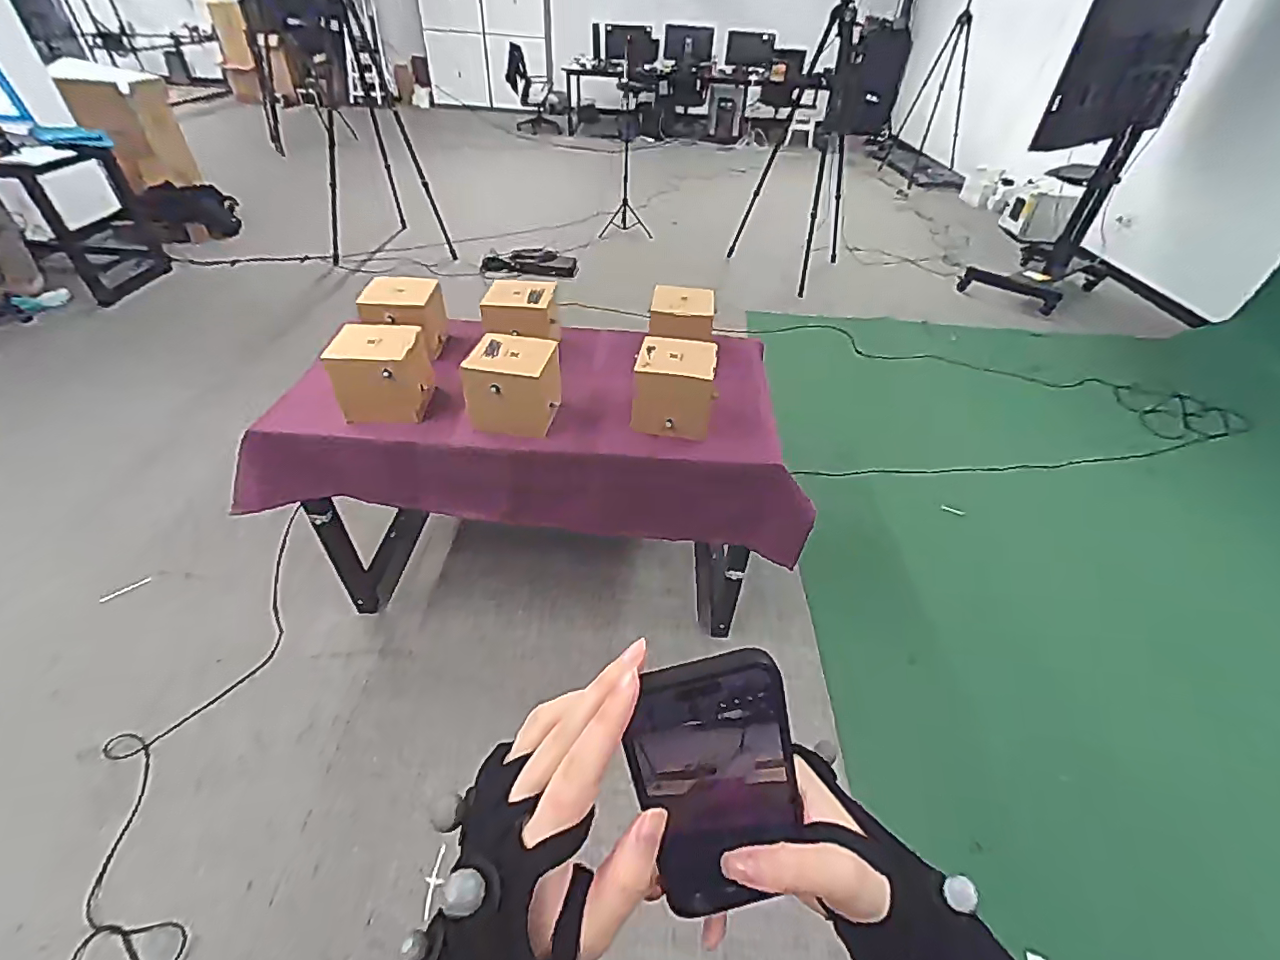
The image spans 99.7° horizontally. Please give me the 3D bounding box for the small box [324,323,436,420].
[{"bbox_3d":[-0.597,-0.254,1.269,0.179,0.176,0.168,1,41,-5],"label":"small box"}]

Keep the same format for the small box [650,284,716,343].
[{"bbox_3d":[0.117,-0.428,1.511,0.168,0.176,0.179,6,43,3],"label":"small box"}]

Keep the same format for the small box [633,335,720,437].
[{"bbox_3d":[0.085,-0.220,1.279,0.179,0.176,0.168,9,42,5],"label":"small box"}]

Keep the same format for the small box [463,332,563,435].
[{"bbox_3d":[-0.285,-0.223,1.256,0.179,0.176,0.168,9,42,4],"label":"small box"}]
